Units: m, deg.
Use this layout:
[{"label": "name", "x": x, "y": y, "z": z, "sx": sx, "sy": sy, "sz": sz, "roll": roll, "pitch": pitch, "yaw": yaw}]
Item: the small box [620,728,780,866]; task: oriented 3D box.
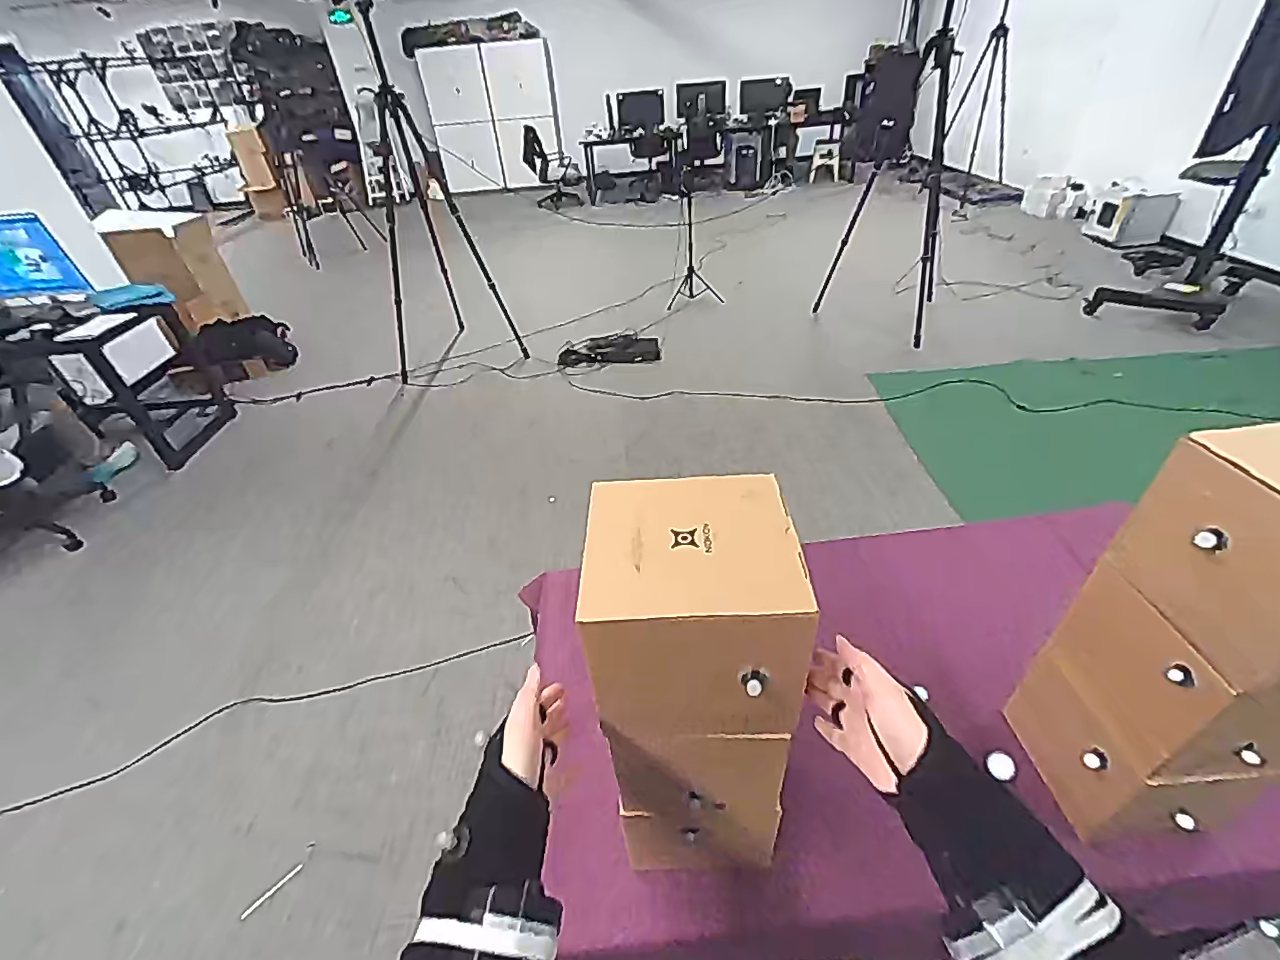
[{"label": "small box", "x": 0.071, "y": 0.371, "z": 0.692, "sx": 0.179, "sy": 0.176, "sz": 0.168, "roll": -3, "pitch": 38, "yaw": 2}]

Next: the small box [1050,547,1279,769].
[{"label": "small box", "x": 0.608, "y": 0.187, "z": 0.594, "sx": 0.168, "sy": 0.176, "sz": 0.179, "roll": -5, "pitch": 39, "yaw": 0}]

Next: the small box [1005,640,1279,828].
[{"label": "small box", "x": 0.616, "y": 0.320, "z": 0.689, "sx": 0.168, "sy": 0.176, "sz": 0.179, "roll": -5, "pitch": 38, "yaw": 0}]

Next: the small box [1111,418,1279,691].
[{"label": "small box", "x": 0.595, "y": 0.060, "z": 0.490, "sx": 0.168, "sy": 0.176, "sz": 0.179, "roll": -8, "pitch": 38, "yaw": -2}]

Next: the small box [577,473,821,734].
[{"label": "small box", "x": 0.048, "y": 0.112, "z": 0.493, "sx": 0.179, "sy": 0.176, "sz": 0.168, "roll": -4, "pitch": 37, "yaw": 3}]
